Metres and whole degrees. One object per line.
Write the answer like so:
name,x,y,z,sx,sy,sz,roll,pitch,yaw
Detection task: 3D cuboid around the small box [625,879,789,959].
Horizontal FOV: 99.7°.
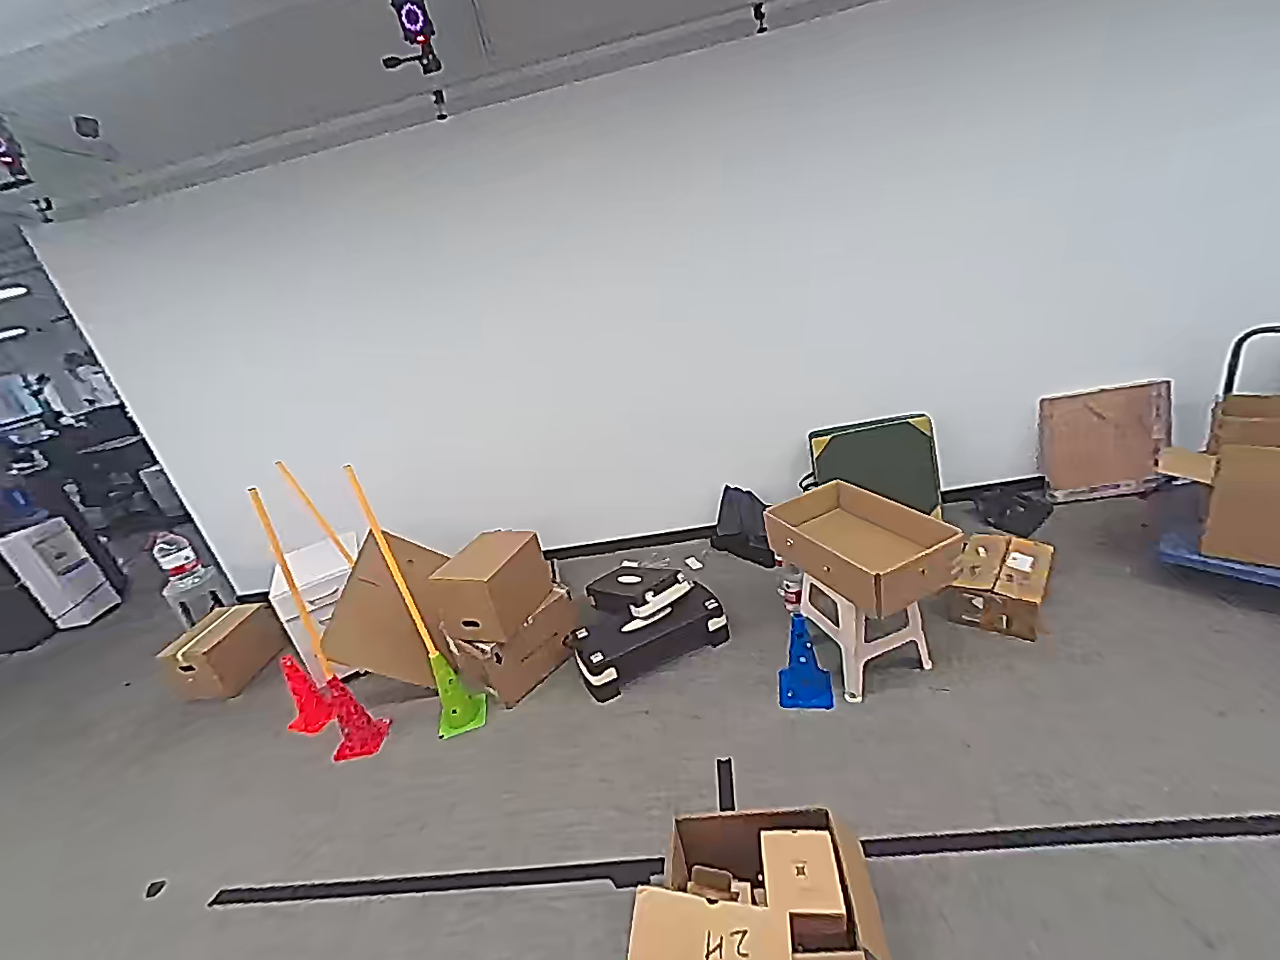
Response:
small box,0.063,0.565,0.564,0.168,0.176,0.179,6,34,7
